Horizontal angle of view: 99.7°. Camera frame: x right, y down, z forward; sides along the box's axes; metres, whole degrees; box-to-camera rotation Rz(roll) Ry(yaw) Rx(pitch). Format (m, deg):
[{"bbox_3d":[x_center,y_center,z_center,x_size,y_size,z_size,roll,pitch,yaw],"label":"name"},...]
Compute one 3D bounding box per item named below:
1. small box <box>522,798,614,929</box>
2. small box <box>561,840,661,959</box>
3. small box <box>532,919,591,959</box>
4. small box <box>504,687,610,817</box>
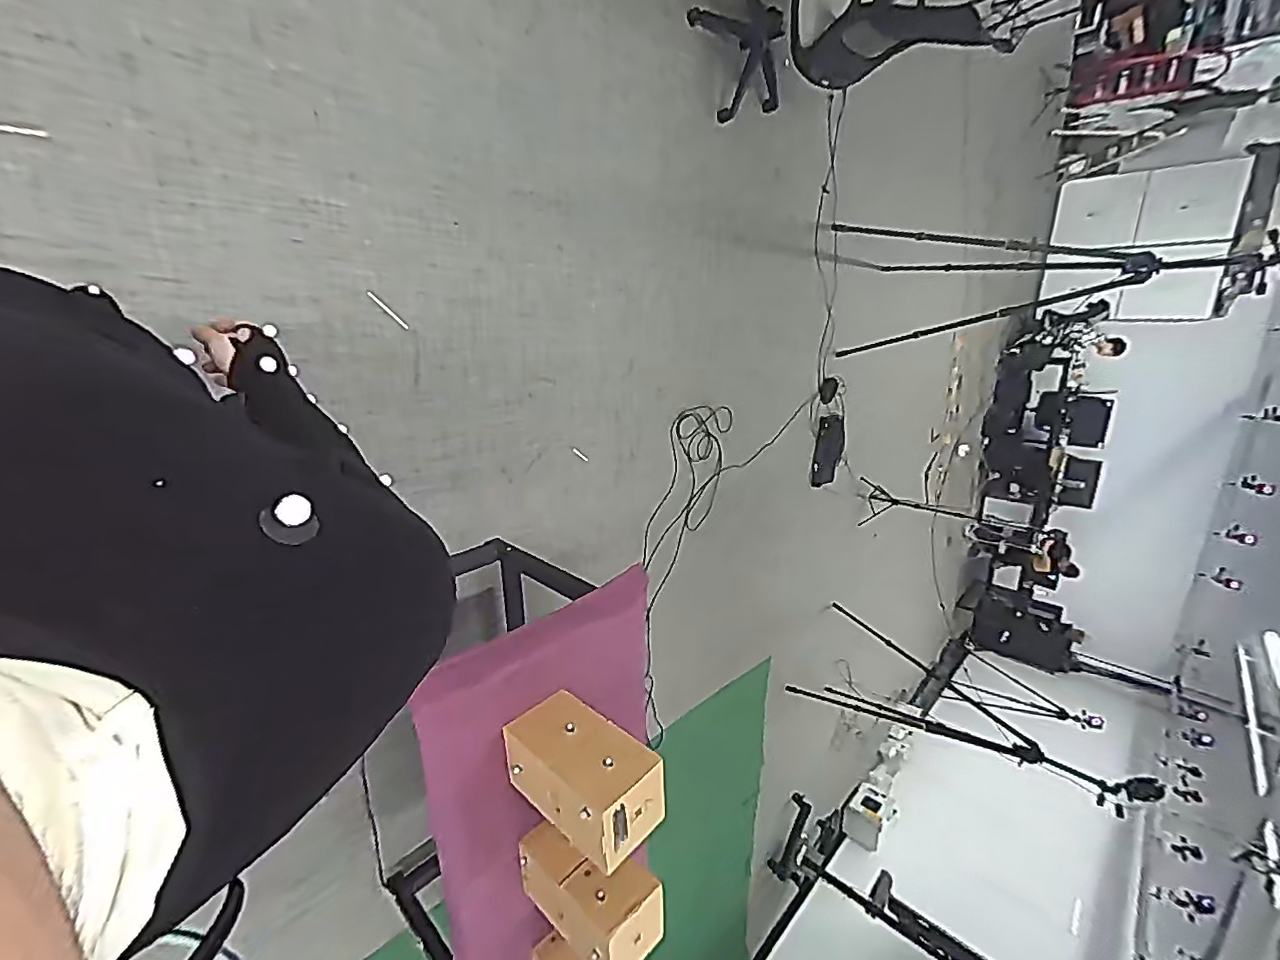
[{"bbox_3d":[-0.182,0.945,1.357,0.179,0.176,0.168,-19,114,-43],"label":"small box"},{"bbox_3d":[-0.068,0.977,1.246,0.168,0.176,0.179,-17,114,-42],"label":"small box"},{"bbox_3d":[-0.179,1.320,1.468,0.168,0.176,0.179,-16,112,-43],"label":"small box"},{"bbox_3d":[-0.191,0.615,1.251,0.179,0.176,0.168,-19,115,-42],"label":"small box"}]
